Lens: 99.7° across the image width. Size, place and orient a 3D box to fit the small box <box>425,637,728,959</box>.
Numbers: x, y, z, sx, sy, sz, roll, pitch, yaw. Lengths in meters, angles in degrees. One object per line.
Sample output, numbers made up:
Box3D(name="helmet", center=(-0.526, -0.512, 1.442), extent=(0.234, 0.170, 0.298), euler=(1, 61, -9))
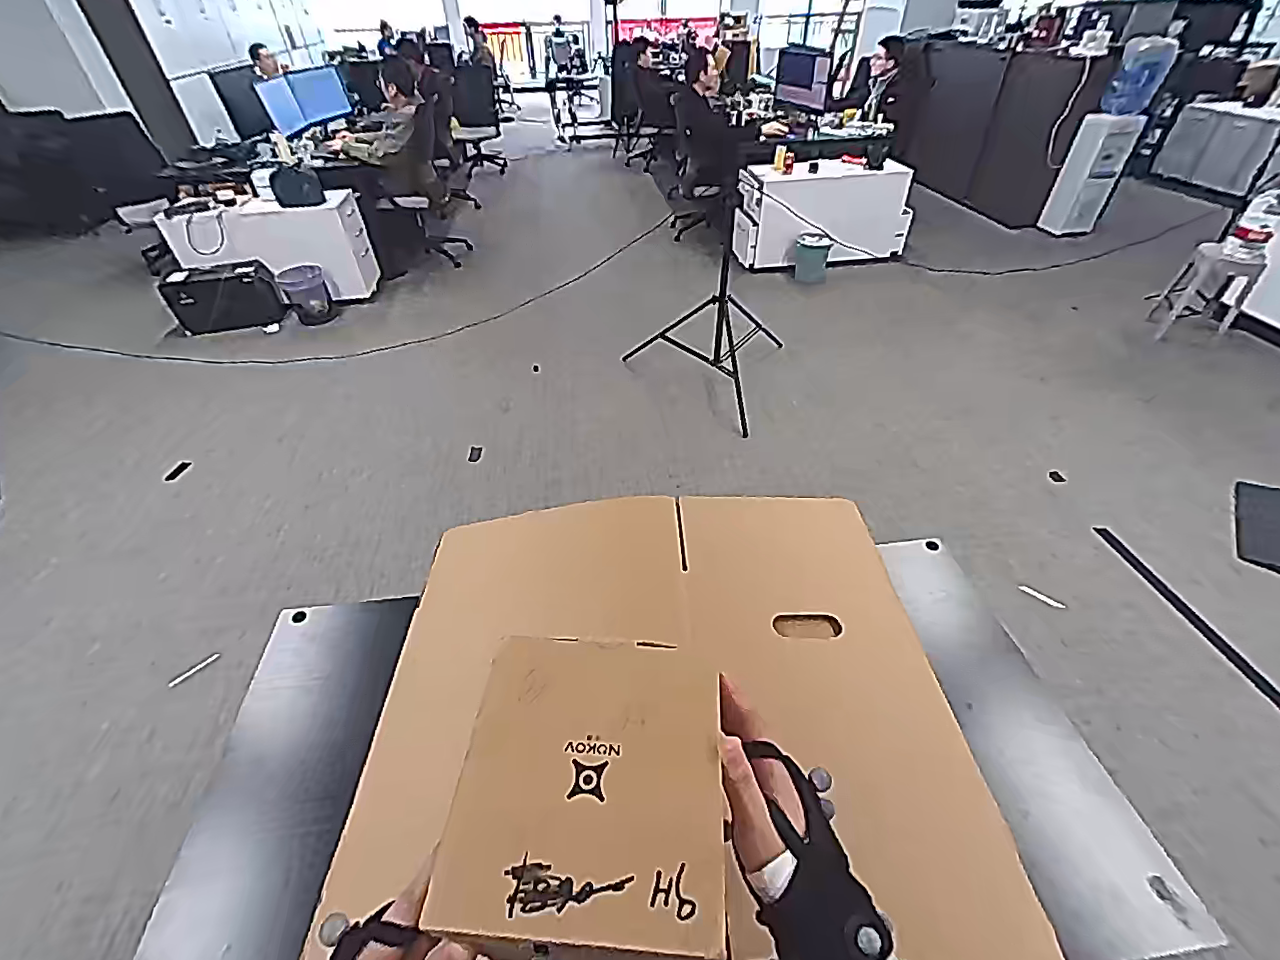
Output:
Box3D(name="small box", center=(-0.026, 0.239, 0.396), extent=(0.168, 0.176, 0.179), euler=(1, 43, 5))
